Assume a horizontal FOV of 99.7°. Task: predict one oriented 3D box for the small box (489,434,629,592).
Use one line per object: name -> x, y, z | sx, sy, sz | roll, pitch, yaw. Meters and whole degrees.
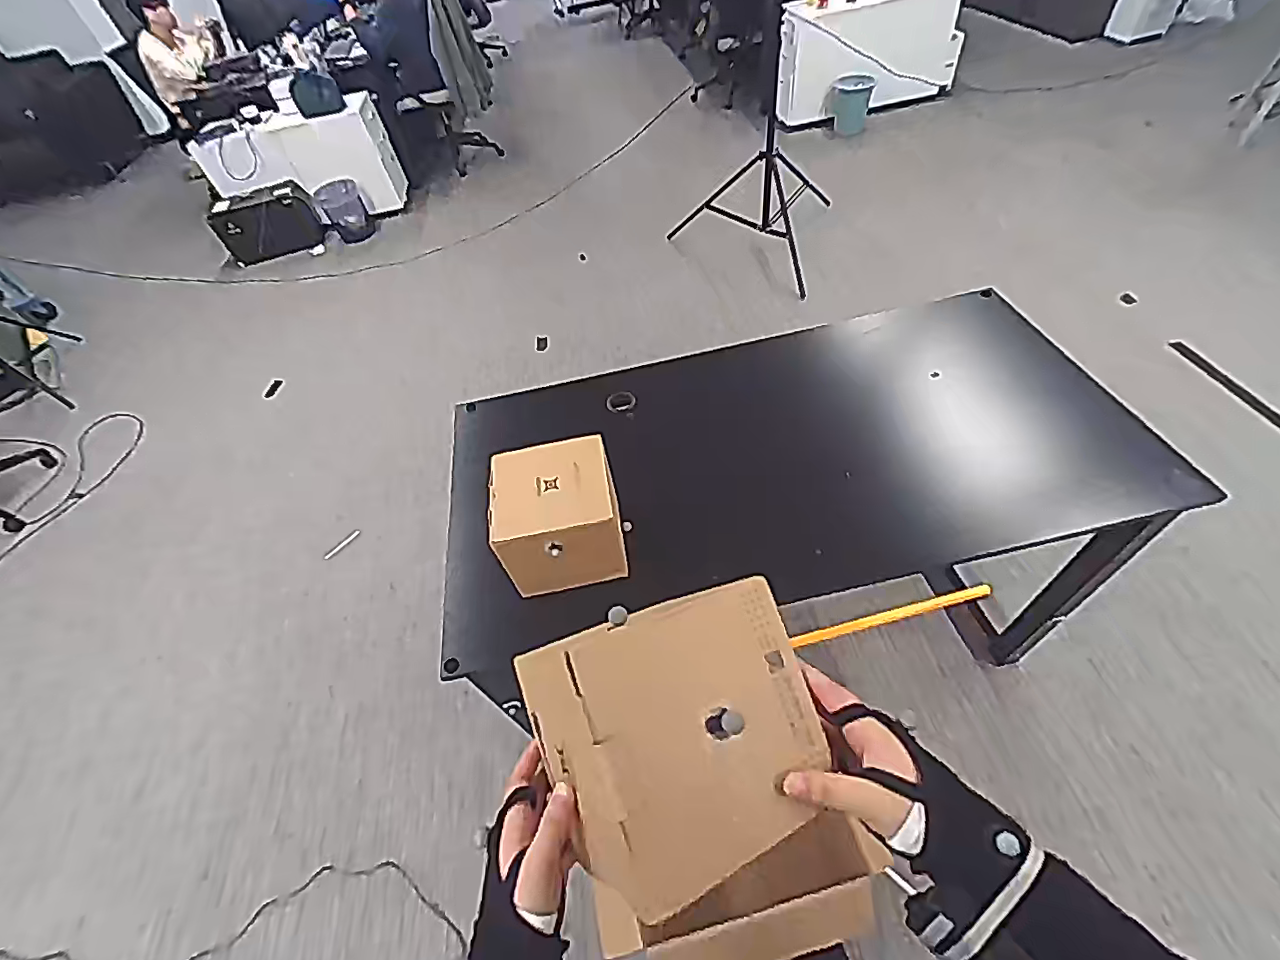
small box -> -0.123, 0.057, 0.845 | 0.179, 0.176, 0.168 | -12, 52, -1
